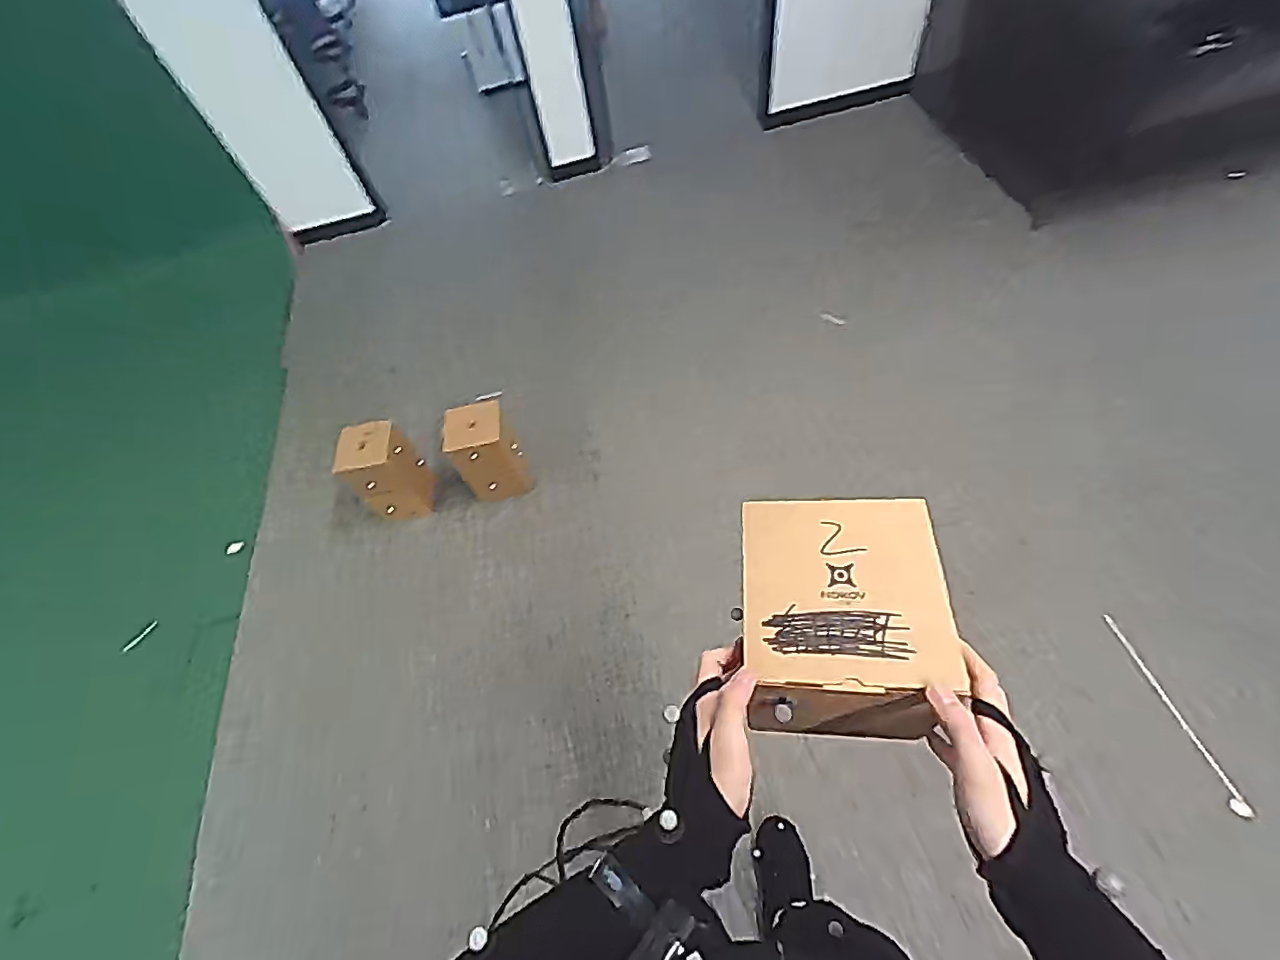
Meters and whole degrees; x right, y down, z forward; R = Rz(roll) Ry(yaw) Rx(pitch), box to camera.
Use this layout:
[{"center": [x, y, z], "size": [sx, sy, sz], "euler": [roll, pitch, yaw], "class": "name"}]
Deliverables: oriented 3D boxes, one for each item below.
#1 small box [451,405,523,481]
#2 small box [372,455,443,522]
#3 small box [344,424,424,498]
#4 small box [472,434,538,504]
[{"center": [-0.489, -0.113, 1.747], "size": [0.179, 0.176, 0.168], "euler": [-10, 57, 1], "class": "small box"}, {"center": [-0.808, 0.035, 1.898], "size": [0.168, 0.176, 0.179], "euler": [-10, 56, 2], "class": "small box"}, {"center": [-0.825, -0.055, 1.761], "size": [0.168, 0.176, 0.179], "euler": [-9, 57, 2], "class": "small box"}, {"center": [-0.471, -0.034, 1.890], "size": [0.179, 0.176, 0.168], "euler": [-12, 57, 1], "class": "small box"}]
